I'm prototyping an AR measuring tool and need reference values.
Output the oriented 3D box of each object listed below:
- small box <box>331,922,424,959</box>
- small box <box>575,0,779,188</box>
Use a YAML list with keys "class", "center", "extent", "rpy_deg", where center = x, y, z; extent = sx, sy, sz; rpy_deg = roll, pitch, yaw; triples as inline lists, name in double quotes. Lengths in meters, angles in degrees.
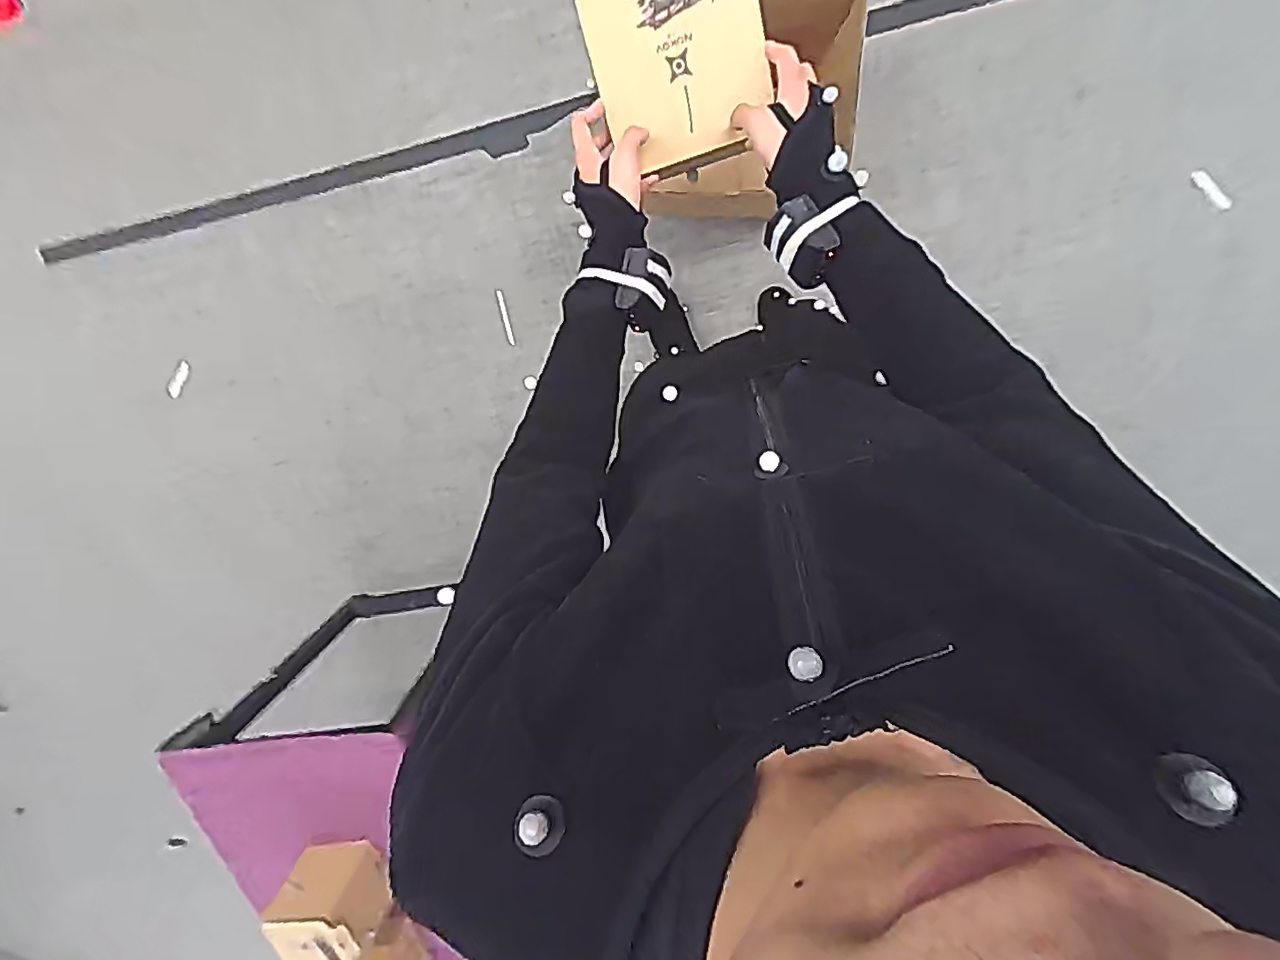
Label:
- class: "small box"
  center: [-0.652, 1.215, 1.312]
  extent: [0.179, 0.176, 0.168]
  rpy_deg: [-12, 108, 9]
- class: "small box"
  center: [0.040, -0.436, 0.584]
  extent: [0.168, 0.176, 0.179]
  rpy_deg: [-14, 114, 10]
